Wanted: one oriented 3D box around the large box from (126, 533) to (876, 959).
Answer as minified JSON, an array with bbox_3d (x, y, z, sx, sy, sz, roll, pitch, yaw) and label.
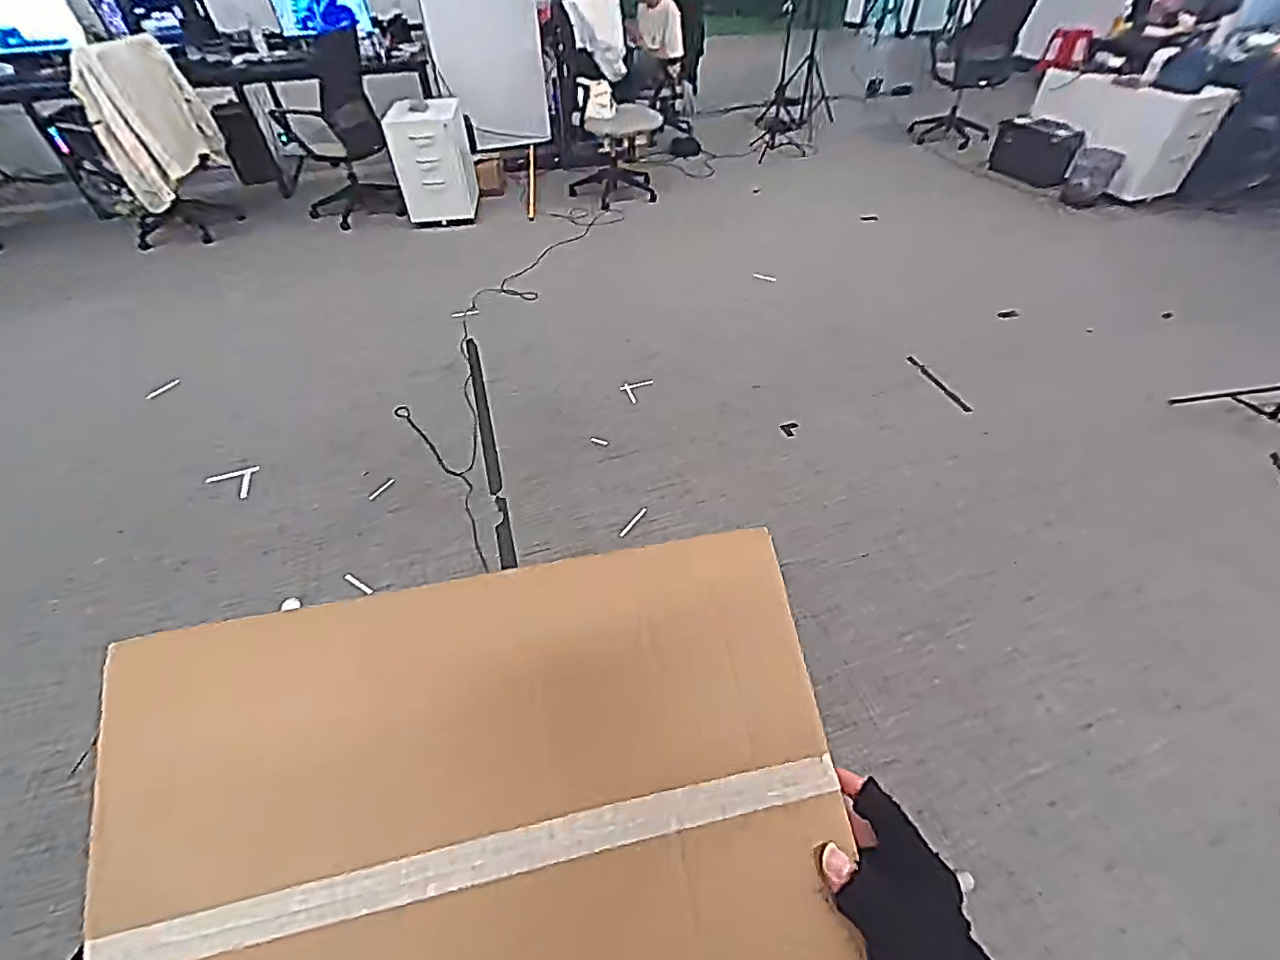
[{"bbox_3d":[-0.091,0.260,0.453,0.408,0.320,0.320,-9,74,-8],"label":"large box"}]
